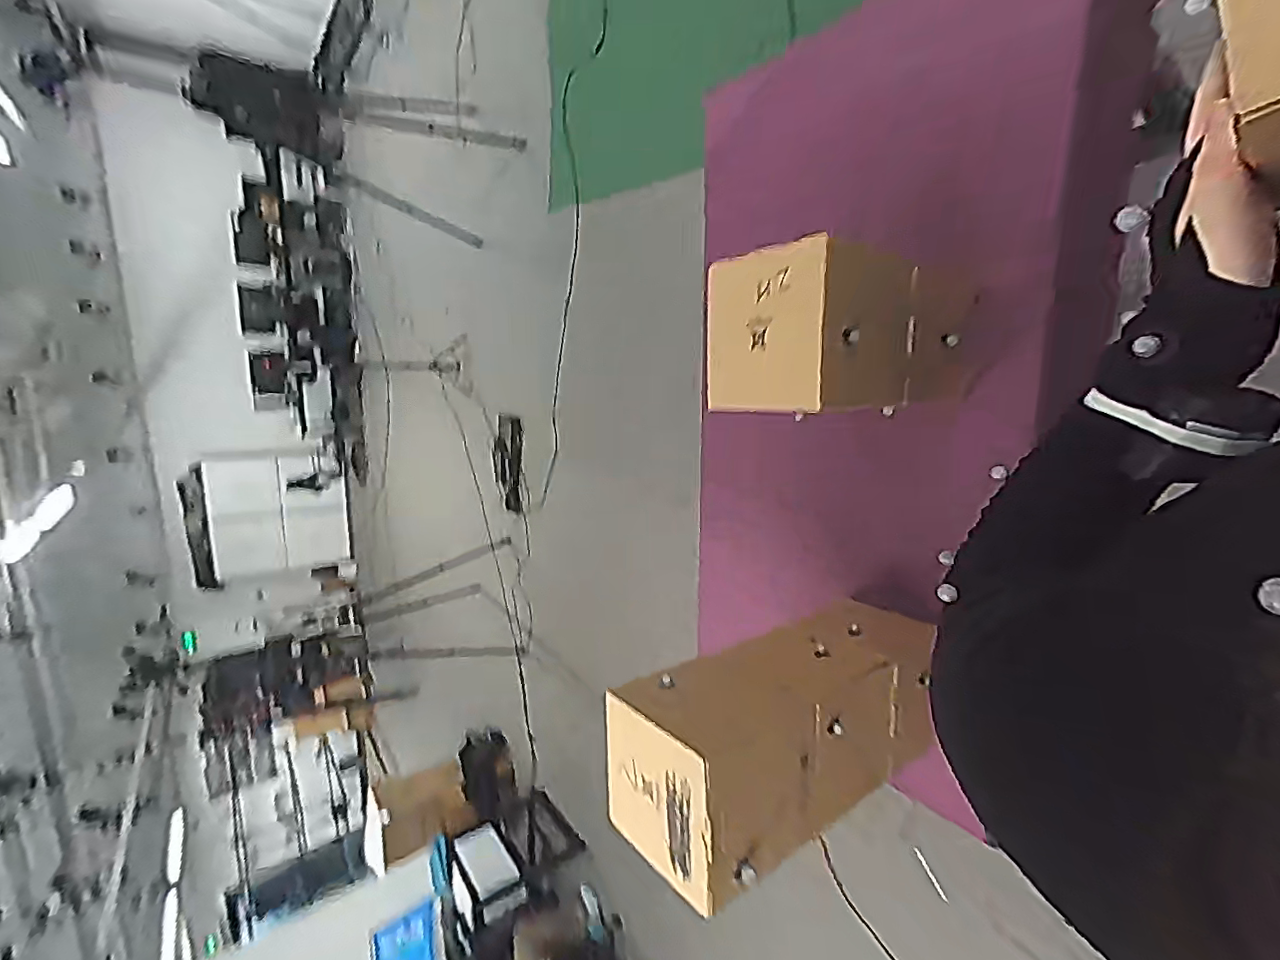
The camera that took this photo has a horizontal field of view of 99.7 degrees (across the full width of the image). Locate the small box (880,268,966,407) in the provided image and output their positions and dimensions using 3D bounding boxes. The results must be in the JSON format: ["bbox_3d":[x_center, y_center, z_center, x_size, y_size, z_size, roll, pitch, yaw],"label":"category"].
[{"bbox_3d":[0.329,-0.190,0.757,0.179,0.176,0.168,12,105,50],"label":"small box"}]

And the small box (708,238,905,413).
[{"bbox_3d":[0.200,-0.174,0.655,0.168,0.176,0.179,11,105,51],"label":"small box"}]

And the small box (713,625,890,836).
[{"bbox_3d":[0.217,0.316,0.727,0.168,0.176,0.179,6,99,52],"label":"small box"}]

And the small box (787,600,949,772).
[{"bbox_3d":[0.345,0.295,0.824,0.179,0.176,0.168,10,103,52],"label":"small box"}]

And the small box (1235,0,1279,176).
[{"bbox_3d":[0.364,-0.250,0.215,0.168,0.176,0.179,-5,89,51],"label":"small box"}]
